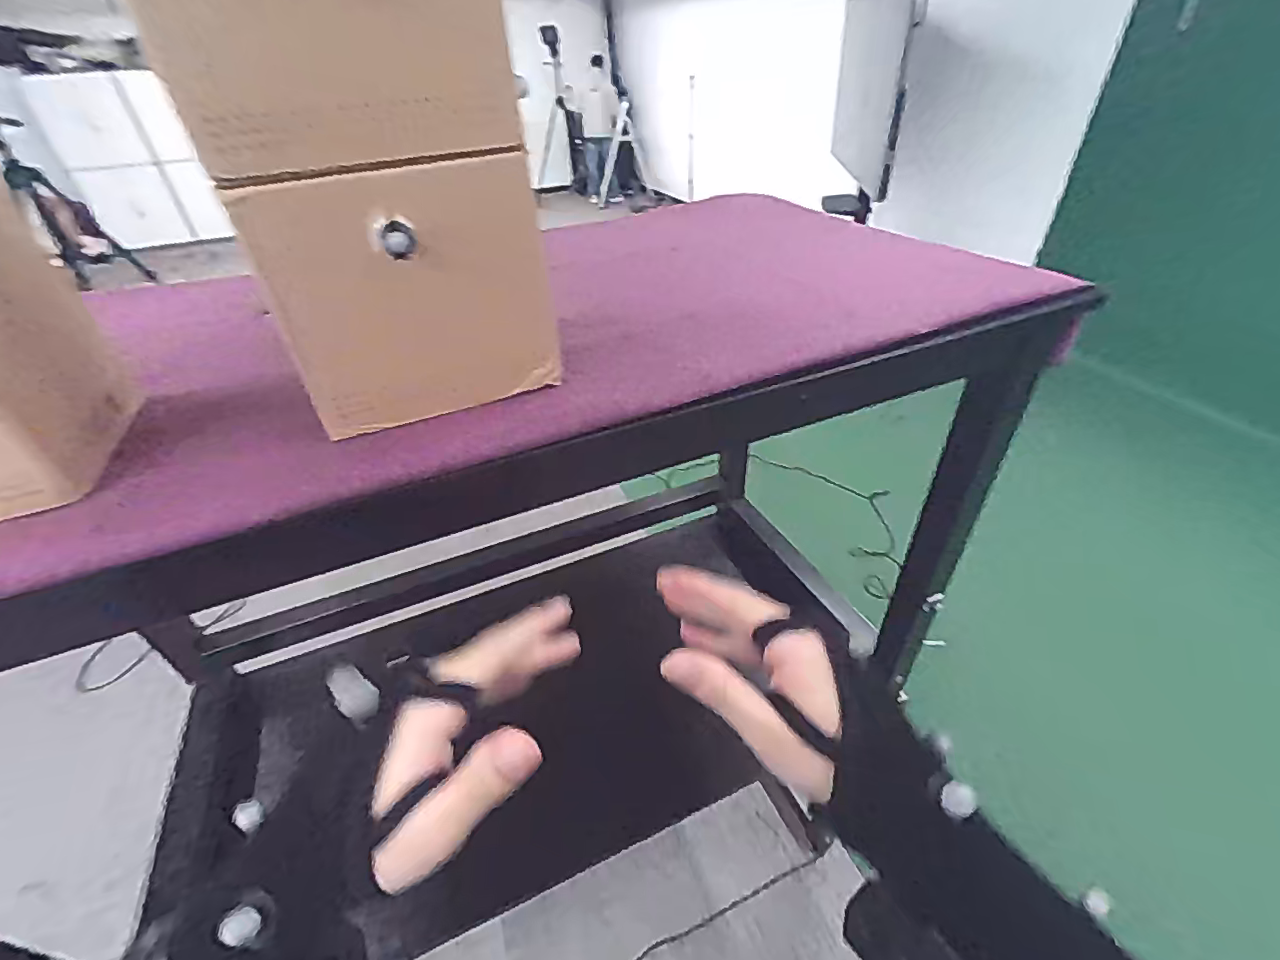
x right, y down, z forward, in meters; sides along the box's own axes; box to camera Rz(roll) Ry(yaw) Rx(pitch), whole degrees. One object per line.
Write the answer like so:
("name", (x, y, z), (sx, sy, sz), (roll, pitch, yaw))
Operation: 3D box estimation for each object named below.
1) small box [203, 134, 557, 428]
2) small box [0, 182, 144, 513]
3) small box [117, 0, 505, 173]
("small box", (-0.179, -0.159, 0.416), (0.179, 0.176, 0.168), (-18, 39, -17))
("small box", (-0.468, -0.071, 0.326), (0.179, 0.176, 0.168), (-19, 39, -18))
("small box", (-0.189, -0.290, 0.319), (0.179, 0.176, 0.168), (-19, 39, -17))
